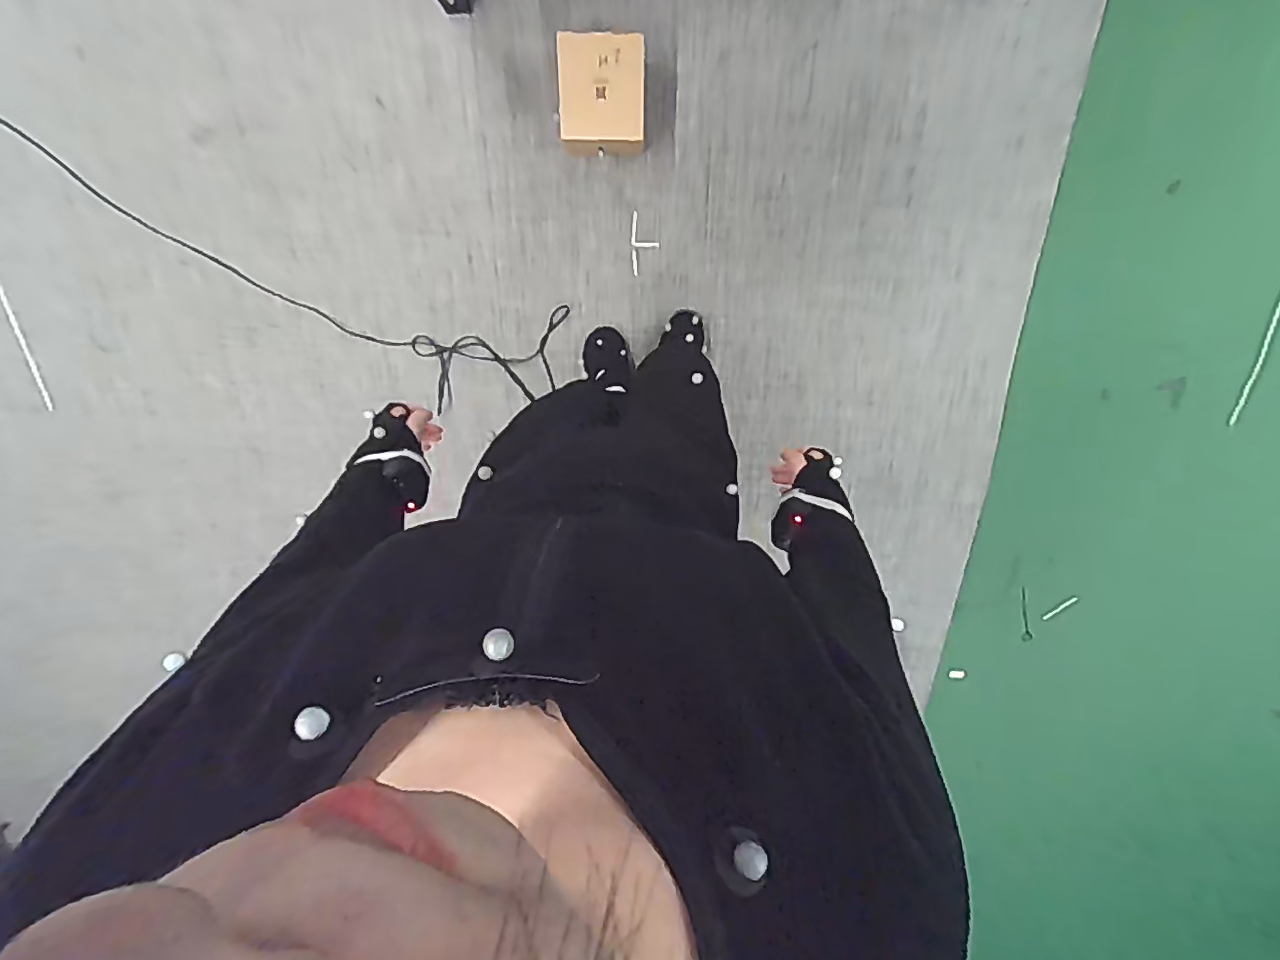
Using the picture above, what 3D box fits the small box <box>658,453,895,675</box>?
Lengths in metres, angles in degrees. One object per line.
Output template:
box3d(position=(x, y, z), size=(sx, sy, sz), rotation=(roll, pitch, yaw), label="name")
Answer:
box3d(position=(0.158, 0.089, 0.602), size=(0.179, 0.176, 0.168), rotation=(-39, 65, 28), label="small box")

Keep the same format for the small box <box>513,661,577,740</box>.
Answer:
box3d(position=(-0.292, 0.688, 1.701), size=(0.179, 0.176, 0.168), rotation=(-1, 112, 0), label="small box")
